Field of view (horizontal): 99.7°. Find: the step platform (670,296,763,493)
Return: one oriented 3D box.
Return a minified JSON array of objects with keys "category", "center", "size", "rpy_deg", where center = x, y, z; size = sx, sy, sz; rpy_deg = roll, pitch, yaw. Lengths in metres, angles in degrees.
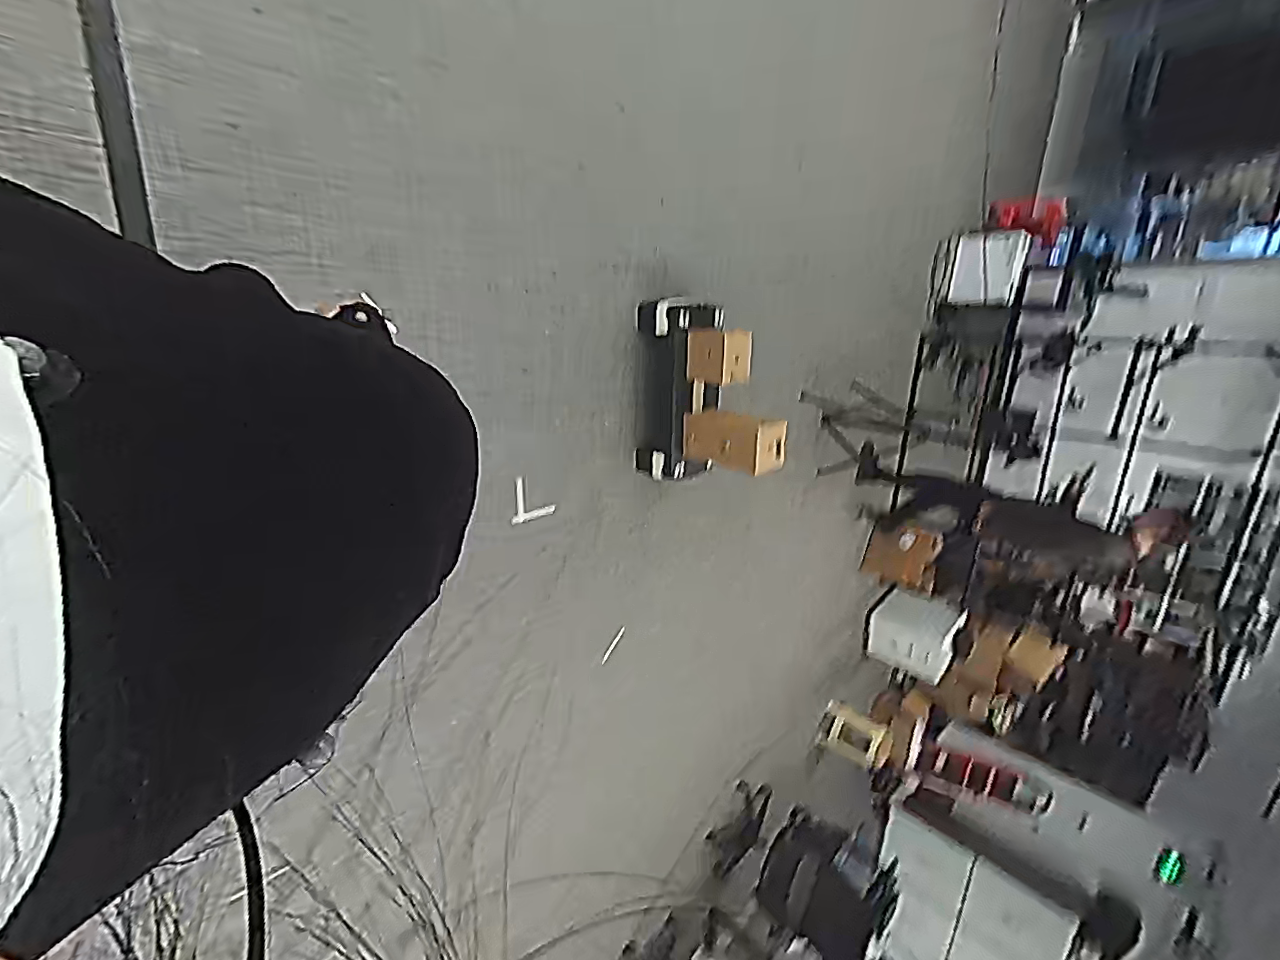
[{"category":"step platform","center":[0.272,-0.309,1.969],"size":[0.286,0.204,0.684],"rpy_deg":[-16,115,-42]}]

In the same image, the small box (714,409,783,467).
[{"category":"small box","center":[0.390,-0.156,1.950],"size":[0.179,0.176,0.168],"rpy_deg":[-17,114,-41]}]

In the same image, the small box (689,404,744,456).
[{"category":"small box","center":[0.273,-0.200,2.057],"size":[0.179,0.176,0.168],"rpy_deg":[-17,114,-41]}]

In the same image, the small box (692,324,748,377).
[{"category":"small box","center":[0.274,-0.477,1.968],"size":[0.168,0.176,0.179],"rpy_deg":[-18,115,-41]}]
